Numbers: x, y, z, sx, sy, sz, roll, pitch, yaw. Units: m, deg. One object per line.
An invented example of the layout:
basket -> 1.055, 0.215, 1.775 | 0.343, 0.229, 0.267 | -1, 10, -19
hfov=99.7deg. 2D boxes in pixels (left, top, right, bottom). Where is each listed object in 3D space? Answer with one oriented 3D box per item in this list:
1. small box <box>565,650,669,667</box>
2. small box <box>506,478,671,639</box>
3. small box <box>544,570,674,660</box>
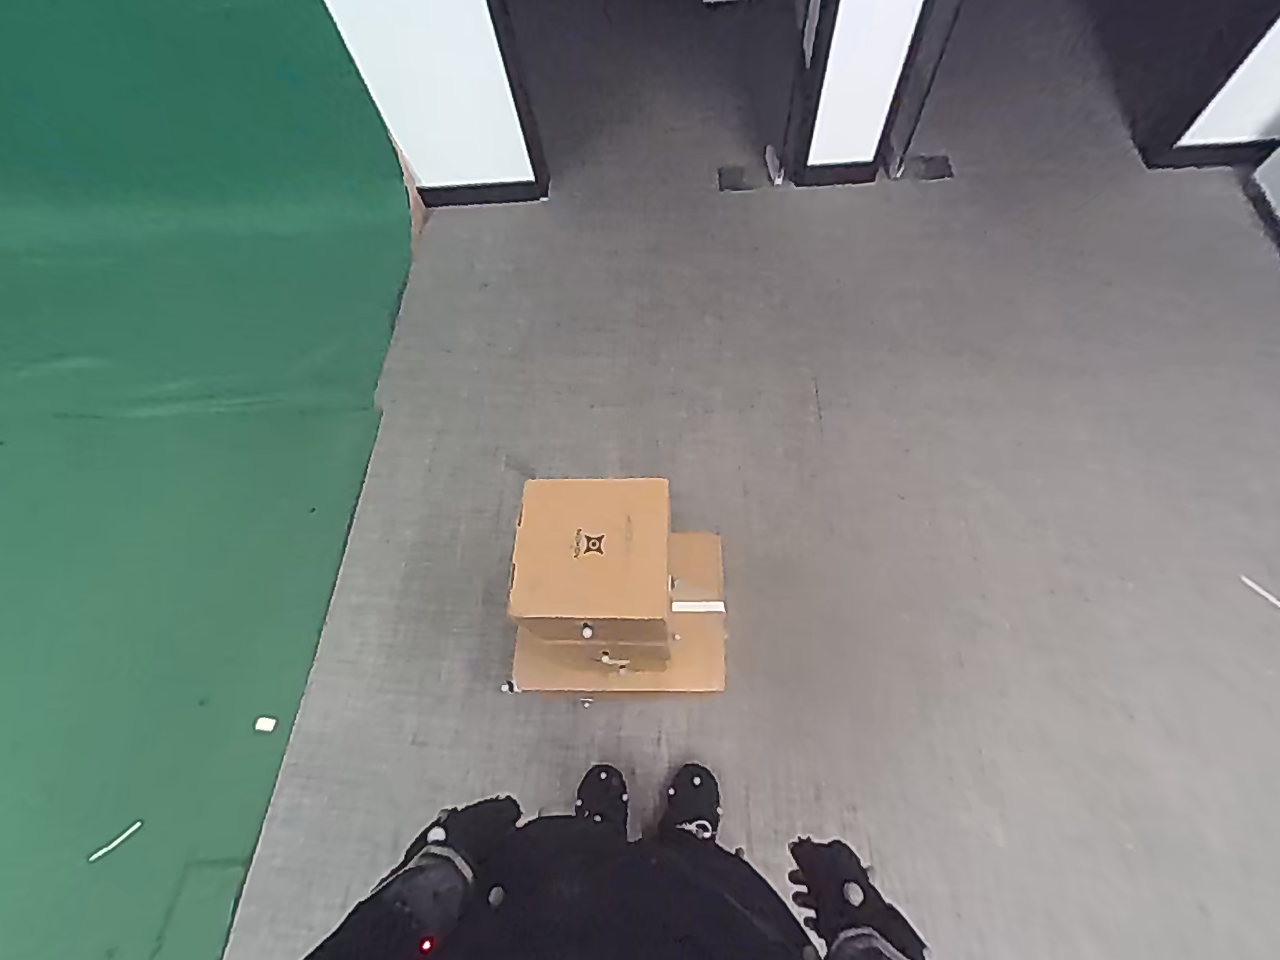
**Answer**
small box -> -0.035, 0.243, 0.981 | 0.168, 0.176, 0.179 | -2, 66, 4
small box -> -0.051, 0.106, 0.686 | 0.179, 0.176, 0.168 | 0, 66, 4
small box -> -0.040, 0.180, 0.829 | 0.179, 0.176, 0.168 | -3, 65, 3
